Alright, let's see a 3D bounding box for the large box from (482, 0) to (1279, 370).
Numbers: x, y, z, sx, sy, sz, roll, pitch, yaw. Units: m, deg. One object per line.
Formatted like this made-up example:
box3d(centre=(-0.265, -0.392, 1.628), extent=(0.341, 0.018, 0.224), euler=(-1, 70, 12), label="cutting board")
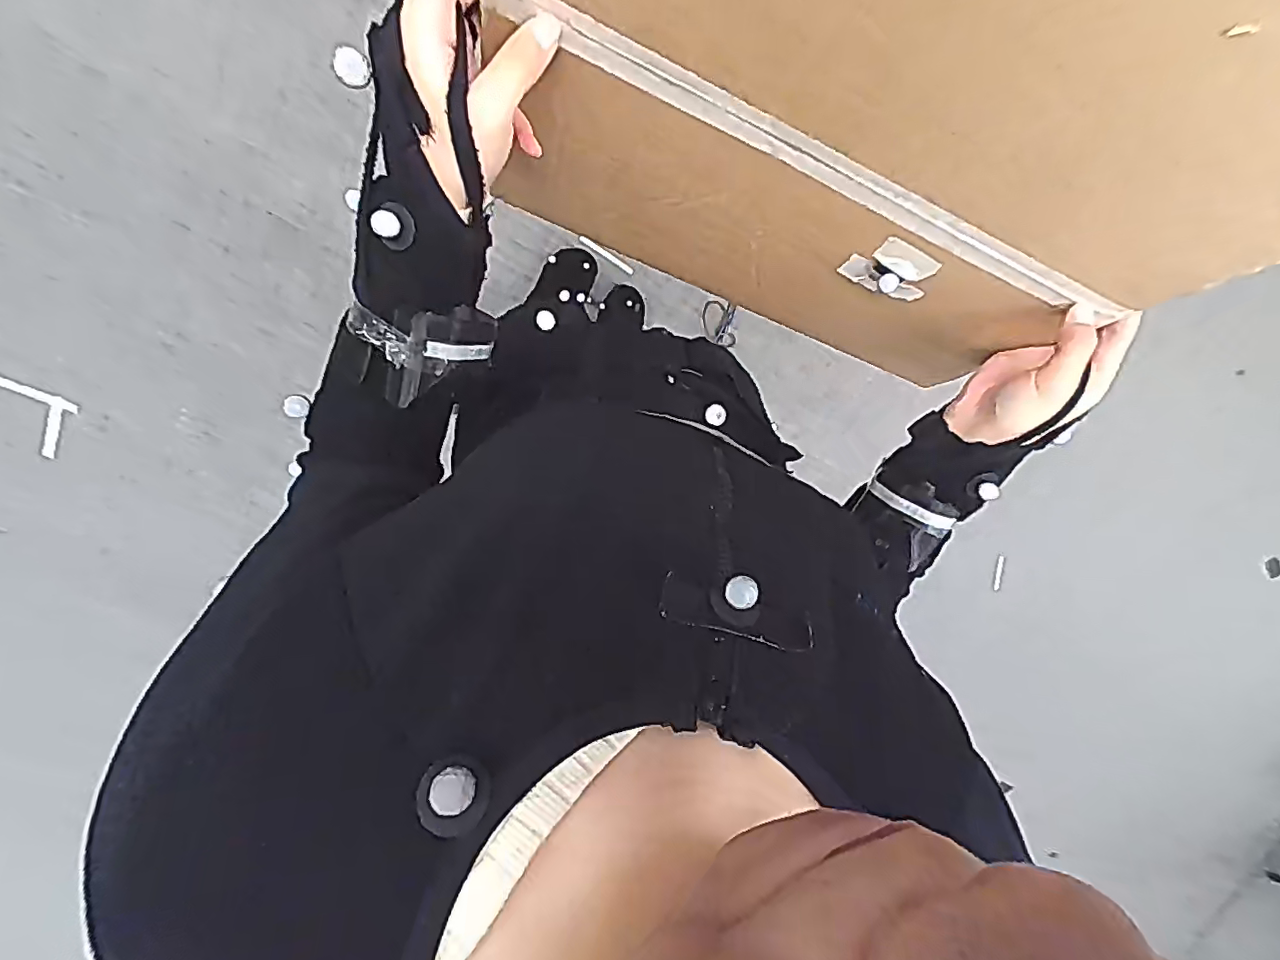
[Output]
box3d(centre=(0.145, -0.315, 0.324), extent=(0.408, 0.320, 0.320), euler=(17, 80, -14), label="large box")
